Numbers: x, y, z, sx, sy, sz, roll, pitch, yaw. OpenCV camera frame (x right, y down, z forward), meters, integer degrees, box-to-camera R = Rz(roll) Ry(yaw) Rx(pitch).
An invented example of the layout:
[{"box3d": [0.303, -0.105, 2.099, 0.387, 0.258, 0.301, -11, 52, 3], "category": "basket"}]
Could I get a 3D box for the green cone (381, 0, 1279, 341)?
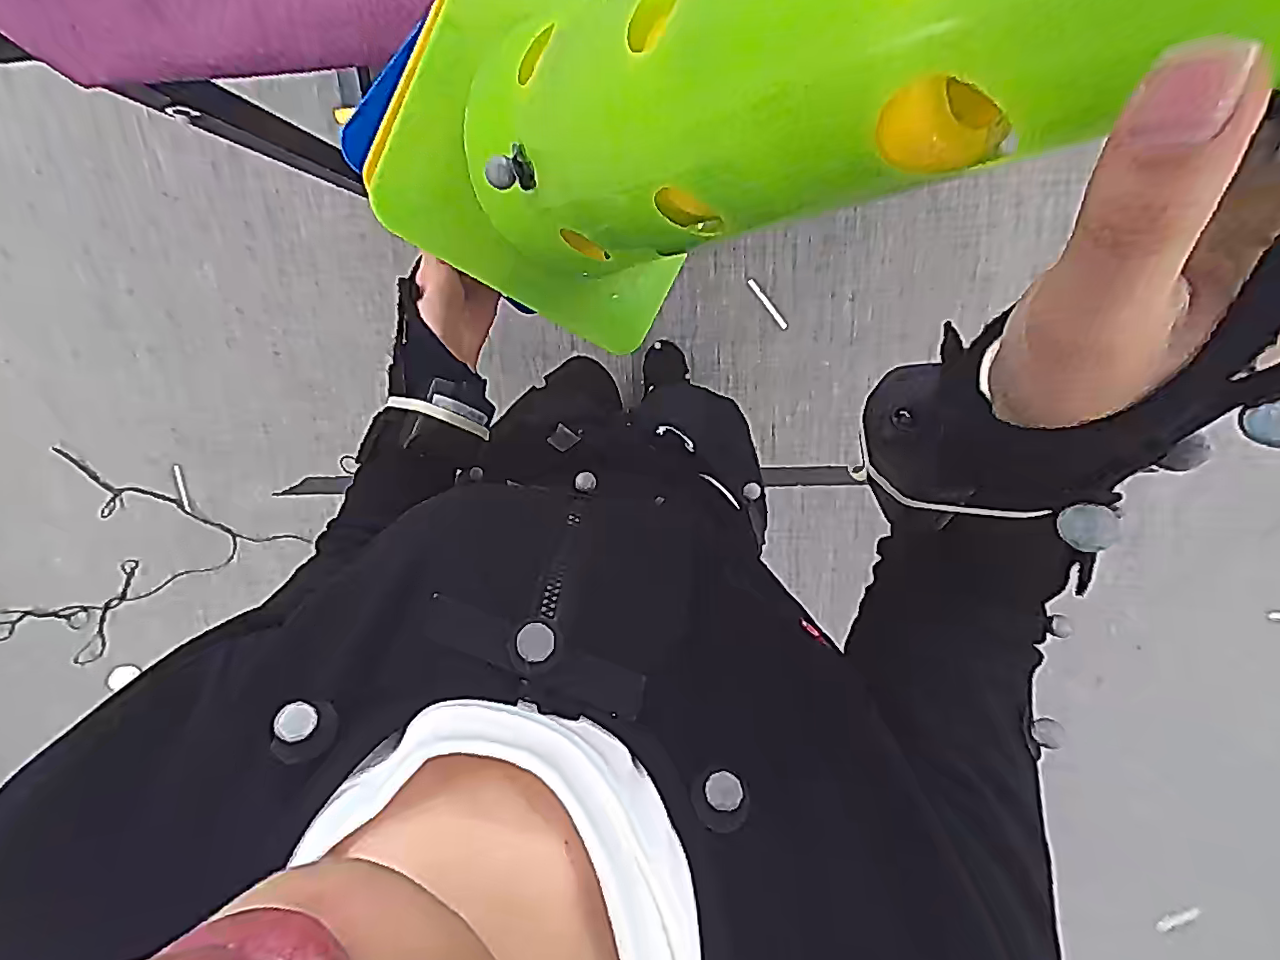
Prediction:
[{"box3d": [0.038, -0.146, 0.194, 0.200, 0.368, 0.202, 22, 102, -31], "category": "green cone"}]
